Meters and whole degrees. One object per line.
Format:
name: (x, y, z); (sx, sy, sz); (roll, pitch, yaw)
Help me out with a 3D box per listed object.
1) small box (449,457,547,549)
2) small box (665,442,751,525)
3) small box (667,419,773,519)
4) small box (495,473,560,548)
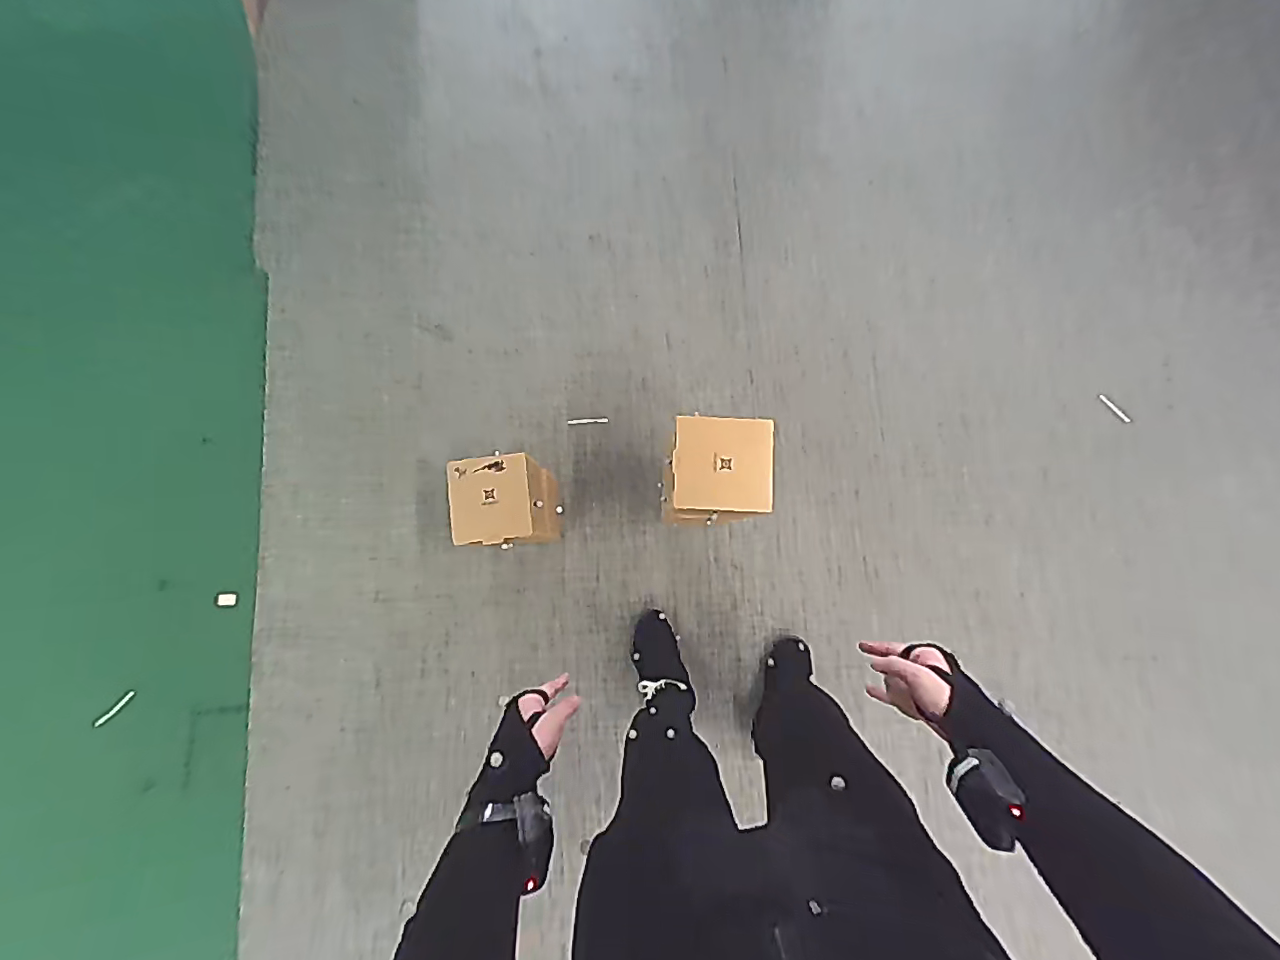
small box: (-0.304, 0.056, 1.185); (0.168, 0.176, 0.179); (-7, 82, -1)
small box: (0.144, 0.011, 1.189); (0.179, 0.176, 0.168); (-2, 82, -1)
small box: (0.147, -0.015, 1.029); (0.179, 0.176, 0.168); (2, 83, 1)
small box: (-0.300, 0.080, 1.347); (0.179, 0.176, 0.168); (-4, 82, -1)
